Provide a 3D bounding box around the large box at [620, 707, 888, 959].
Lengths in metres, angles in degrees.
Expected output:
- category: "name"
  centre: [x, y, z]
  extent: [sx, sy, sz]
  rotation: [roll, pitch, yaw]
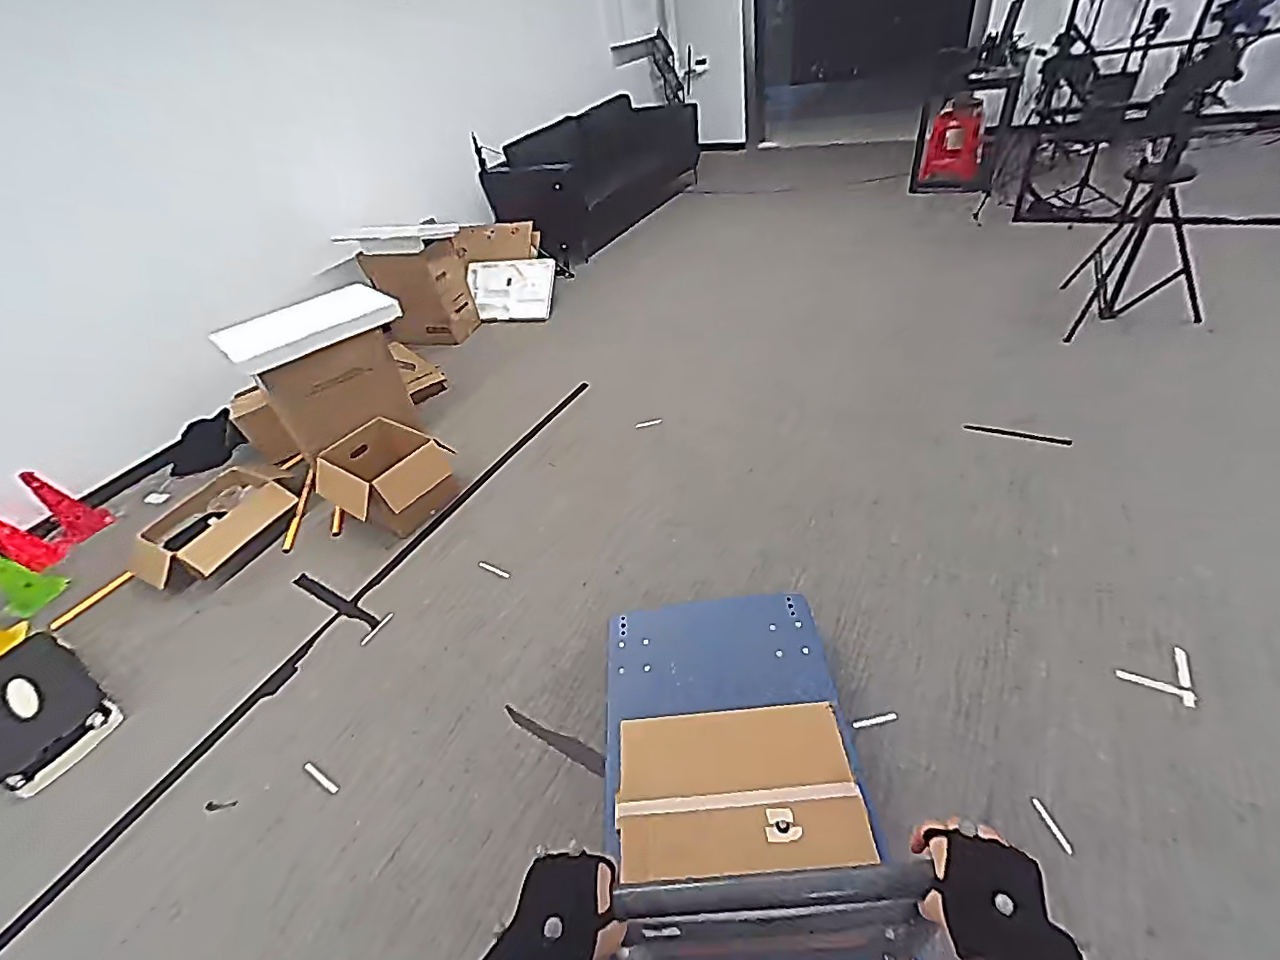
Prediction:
- category: "large box"
  centre: [0.181, 0.664, 1.011]
  extent: [0.408, 0.320, 0.320]
  rotation: [-7, 41, 3]
